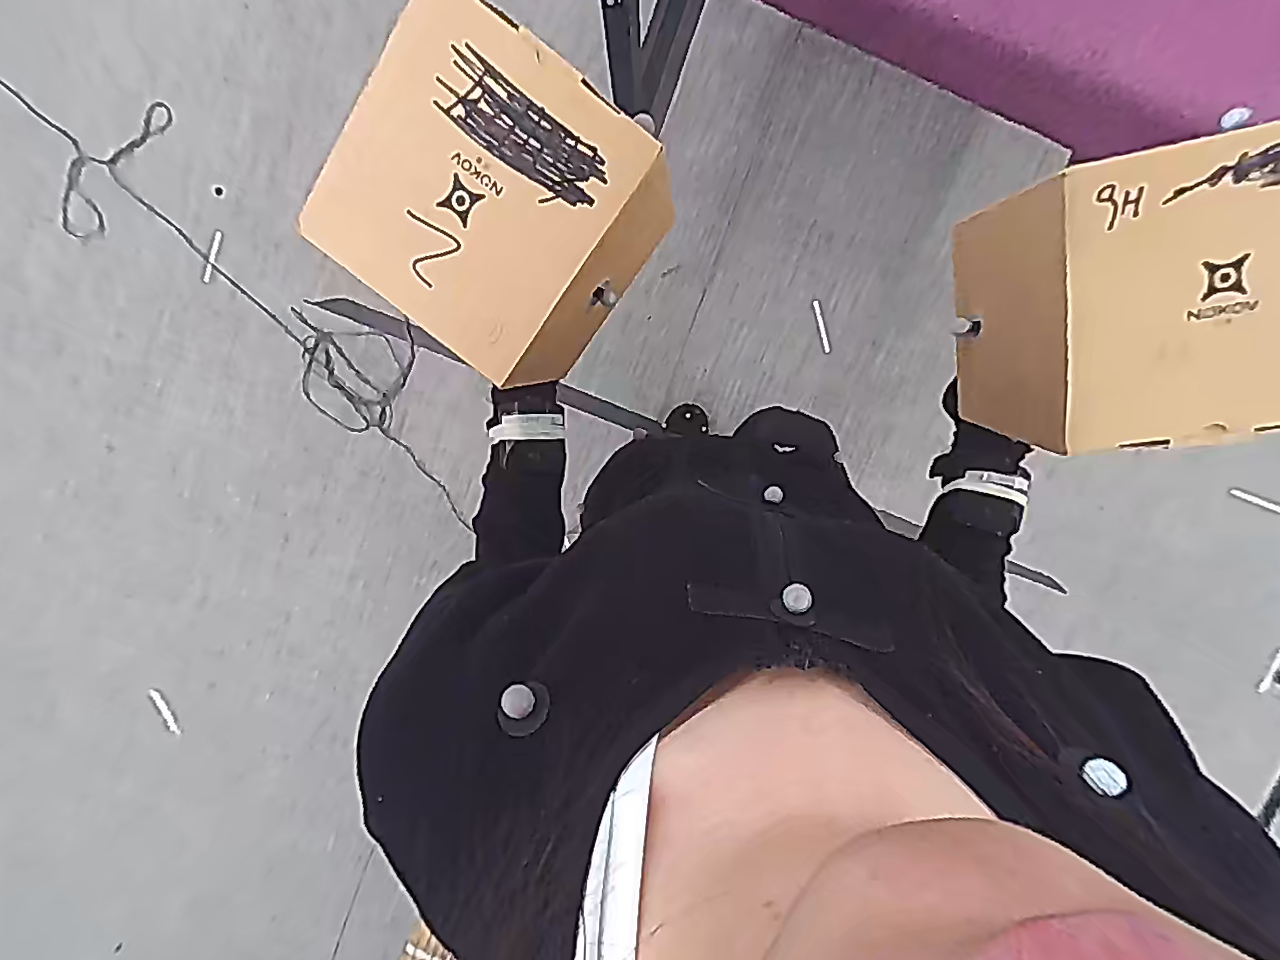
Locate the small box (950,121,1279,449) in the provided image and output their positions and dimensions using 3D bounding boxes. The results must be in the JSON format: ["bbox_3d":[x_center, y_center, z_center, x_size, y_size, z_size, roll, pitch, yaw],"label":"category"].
[{"bbox_3d":[0.351,-0.135,0.400,0.168,0.176,0.179,-8,104,10],"label":"small box"}]
